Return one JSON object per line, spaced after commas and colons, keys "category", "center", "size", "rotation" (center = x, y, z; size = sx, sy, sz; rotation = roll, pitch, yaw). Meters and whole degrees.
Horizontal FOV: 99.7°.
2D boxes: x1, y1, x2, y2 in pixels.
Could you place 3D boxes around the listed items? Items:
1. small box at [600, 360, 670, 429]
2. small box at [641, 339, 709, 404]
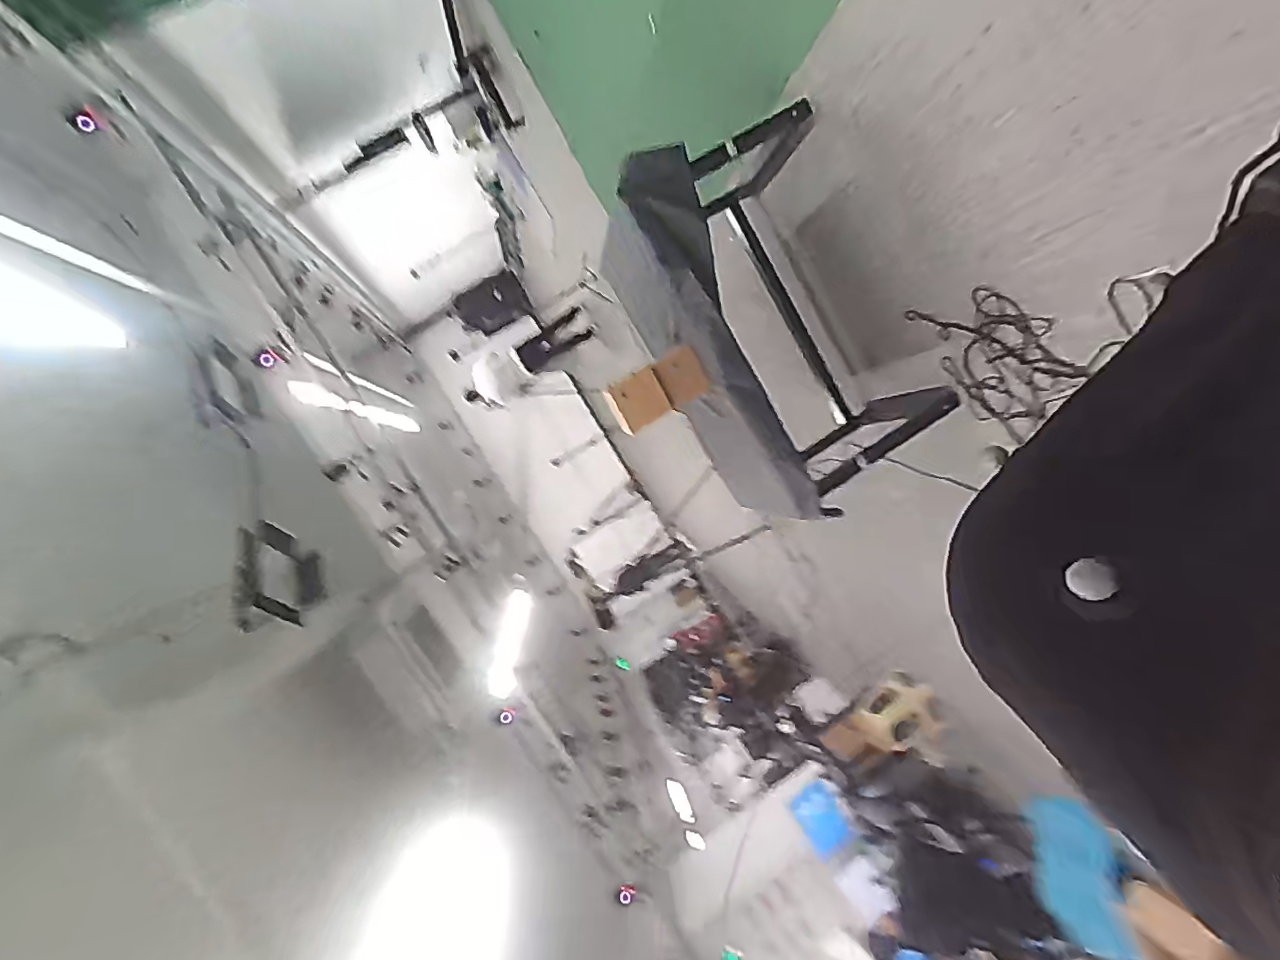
{"category": "small box", "center": [-0.016, -0.302, 1.884], "size": [0.179, 0.176, 0.168], "rotation": [61, 174, -16]}
{"category": "small box", "center": [0.118, -0.388, 1.924], "size": [0.179, 0.176, 0.168], "rotation": [59, 174, -15]}
